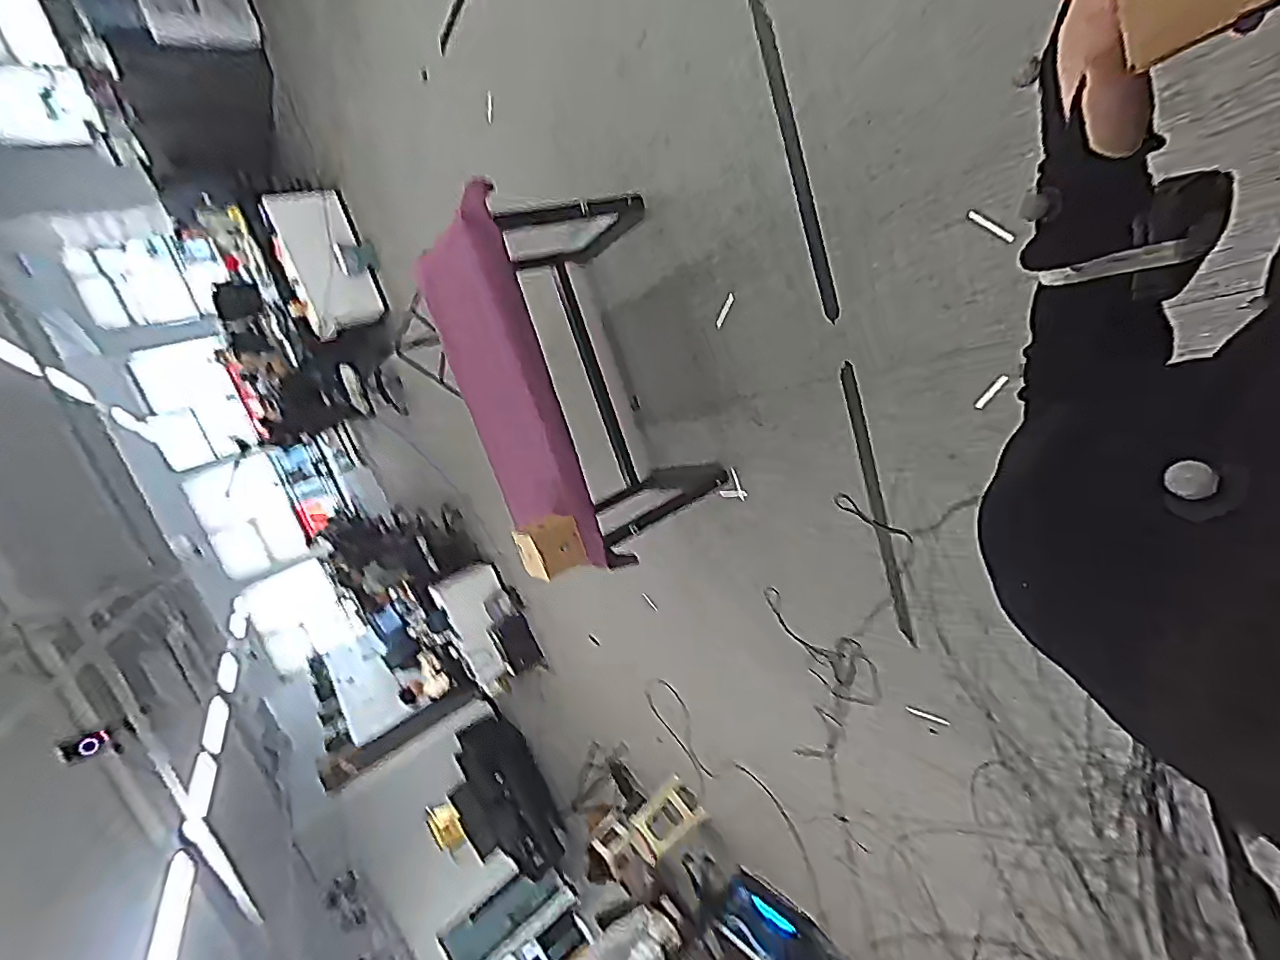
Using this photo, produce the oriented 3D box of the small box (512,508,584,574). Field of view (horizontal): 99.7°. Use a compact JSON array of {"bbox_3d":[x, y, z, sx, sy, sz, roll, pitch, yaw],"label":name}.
[{"bbox_3d":[-0.313,0.206,1.885,0.179,0.176,0.168,1,112,54],"label":"small box"}]
